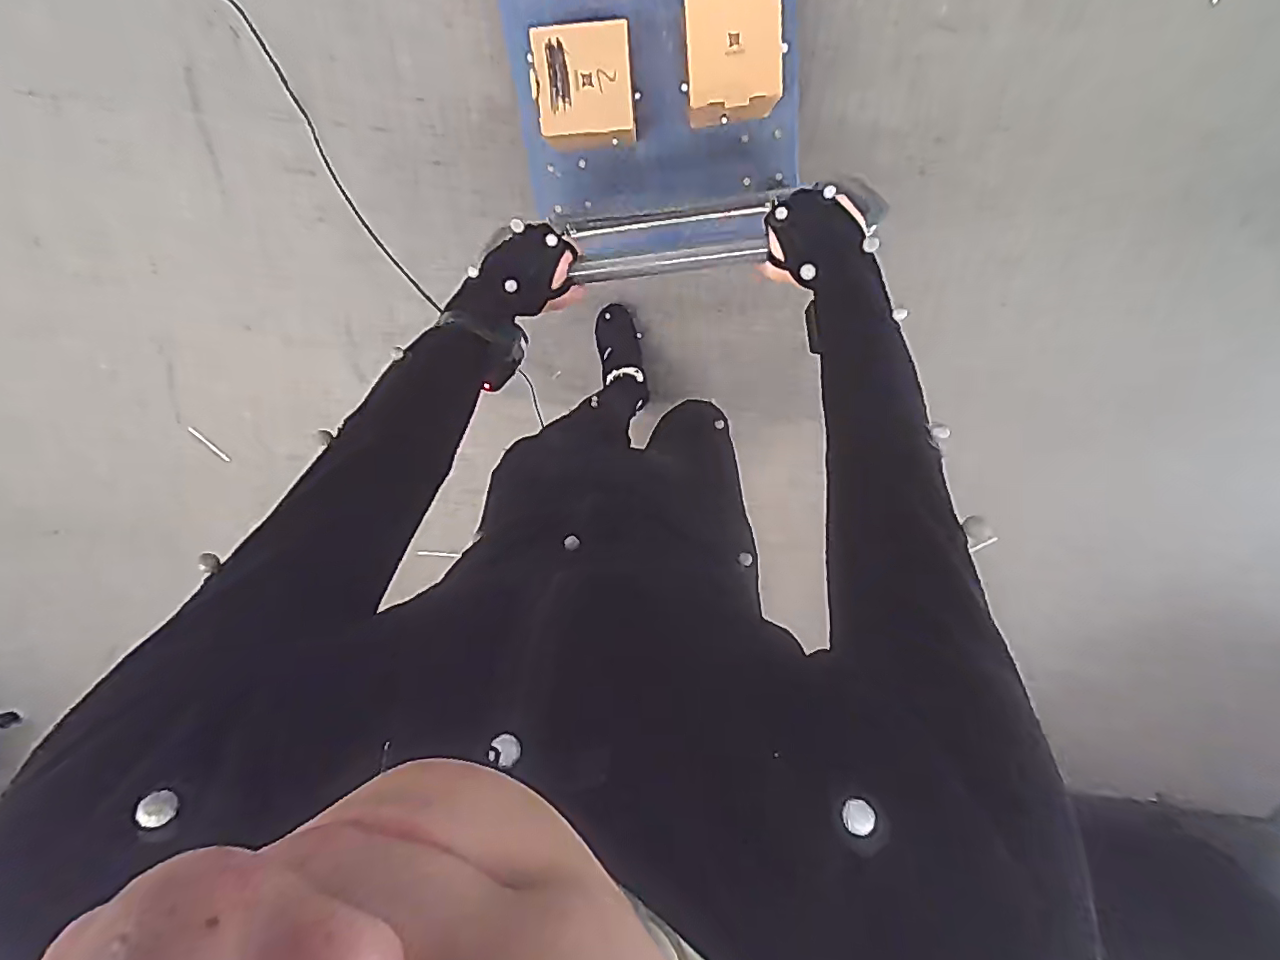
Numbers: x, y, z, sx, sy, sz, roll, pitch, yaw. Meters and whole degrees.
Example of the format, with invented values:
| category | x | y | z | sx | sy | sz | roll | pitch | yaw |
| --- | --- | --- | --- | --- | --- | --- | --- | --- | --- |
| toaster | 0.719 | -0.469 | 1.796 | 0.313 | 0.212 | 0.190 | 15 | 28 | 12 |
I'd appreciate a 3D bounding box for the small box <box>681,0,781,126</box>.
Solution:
| category | x | y | z | sx | sy | sz | roll | pitch | yaw |
| --- | --- | --- | --- | --- | --- | --- | --- | --- | --- |
| small box | 0.168 | -0.798 | 1.022 | 0.168 | 0.176 | 0.179 | -6 | 113 | 5 |
